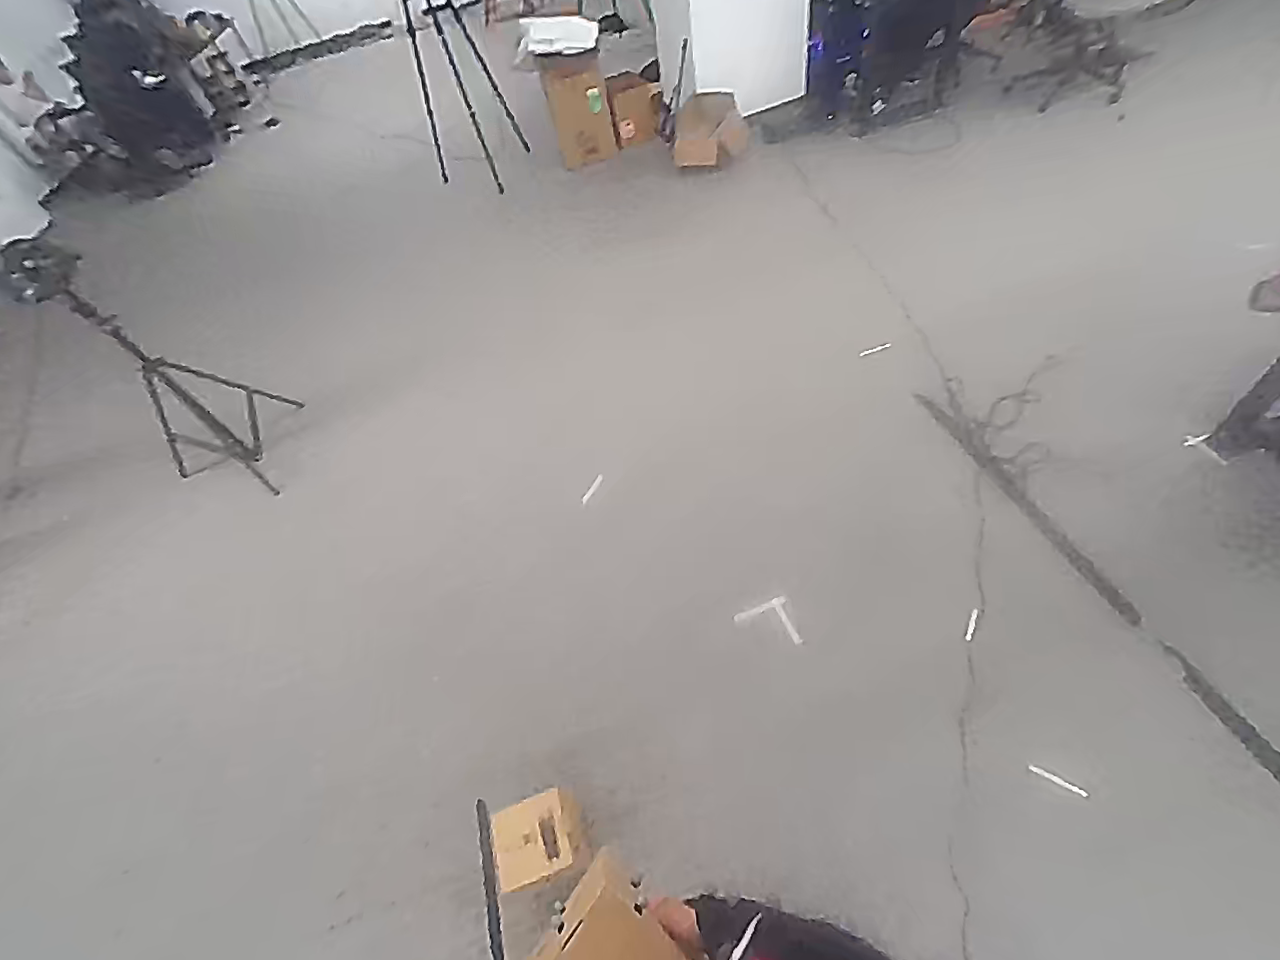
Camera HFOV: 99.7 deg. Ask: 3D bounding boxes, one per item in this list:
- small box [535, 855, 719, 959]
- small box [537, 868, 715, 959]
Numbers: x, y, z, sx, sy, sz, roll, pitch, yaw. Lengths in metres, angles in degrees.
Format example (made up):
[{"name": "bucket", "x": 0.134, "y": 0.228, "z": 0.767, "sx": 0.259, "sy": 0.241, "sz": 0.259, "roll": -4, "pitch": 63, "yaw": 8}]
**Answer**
[{"name": "small box", "x": -0.023, "y": 0.594, "z": 0.657, "sx": 0.179, "sy": 0.176, "sz": 0.168, "roll": 36, "pitch": 65, "yaw": 15}, {"name": "small box", "x": -0.015, "y": 0.512, "z": 0.515, "sx": 0.179, "sy": 0.176, "sz": 0.168, "roll": 36, "pitch": 65, "yaw": 16}]
